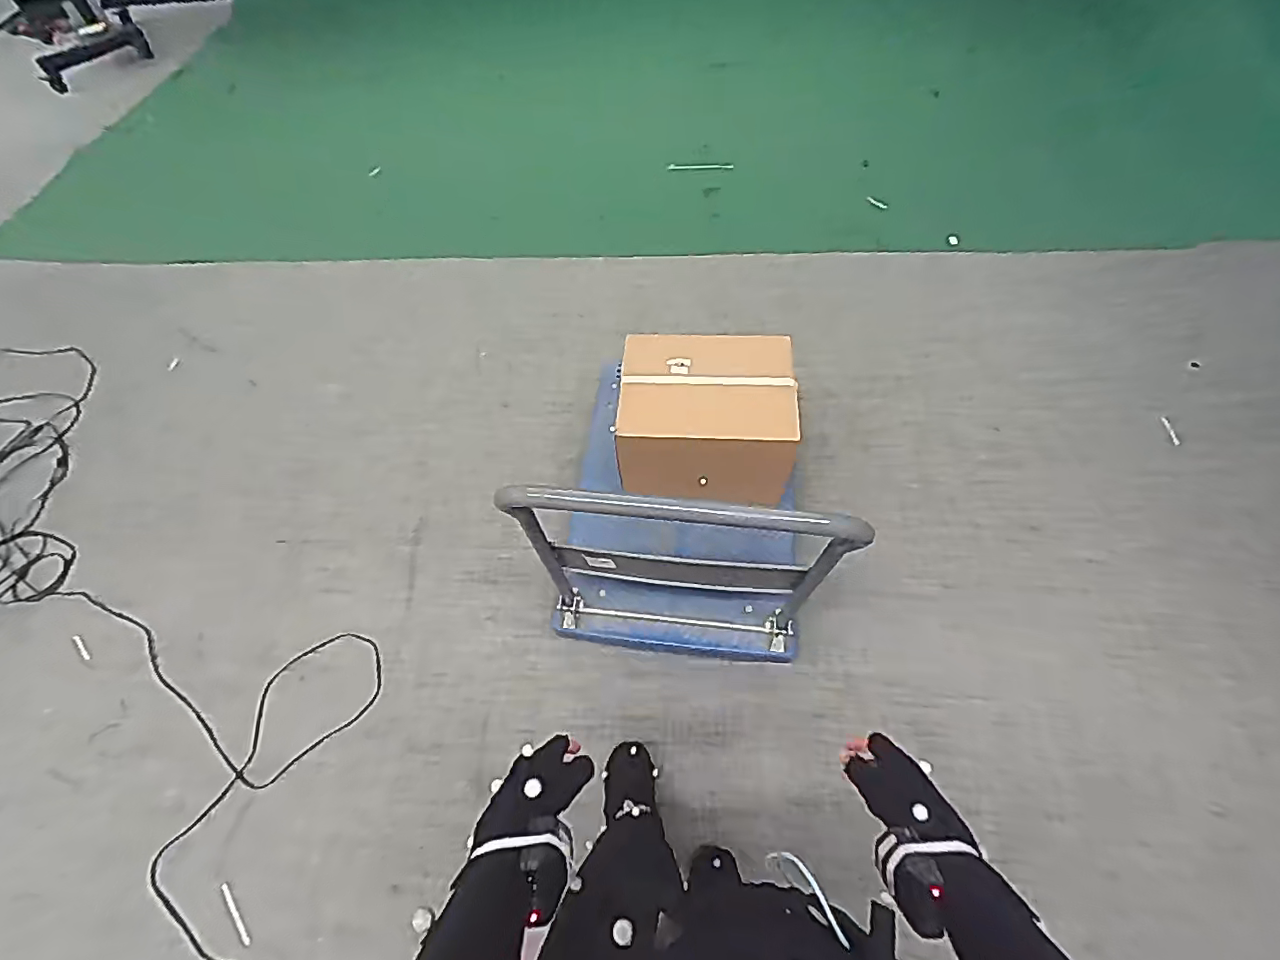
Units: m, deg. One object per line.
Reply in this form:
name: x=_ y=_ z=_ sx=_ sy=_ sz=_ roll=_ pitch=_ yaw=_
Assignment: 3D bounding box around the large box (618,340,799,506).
large box: x=0.167 y=-0.138 z=1.389 sx=0.408 sy=0.320 sz=0.320 roll=1 pitch=58 yaw=5
